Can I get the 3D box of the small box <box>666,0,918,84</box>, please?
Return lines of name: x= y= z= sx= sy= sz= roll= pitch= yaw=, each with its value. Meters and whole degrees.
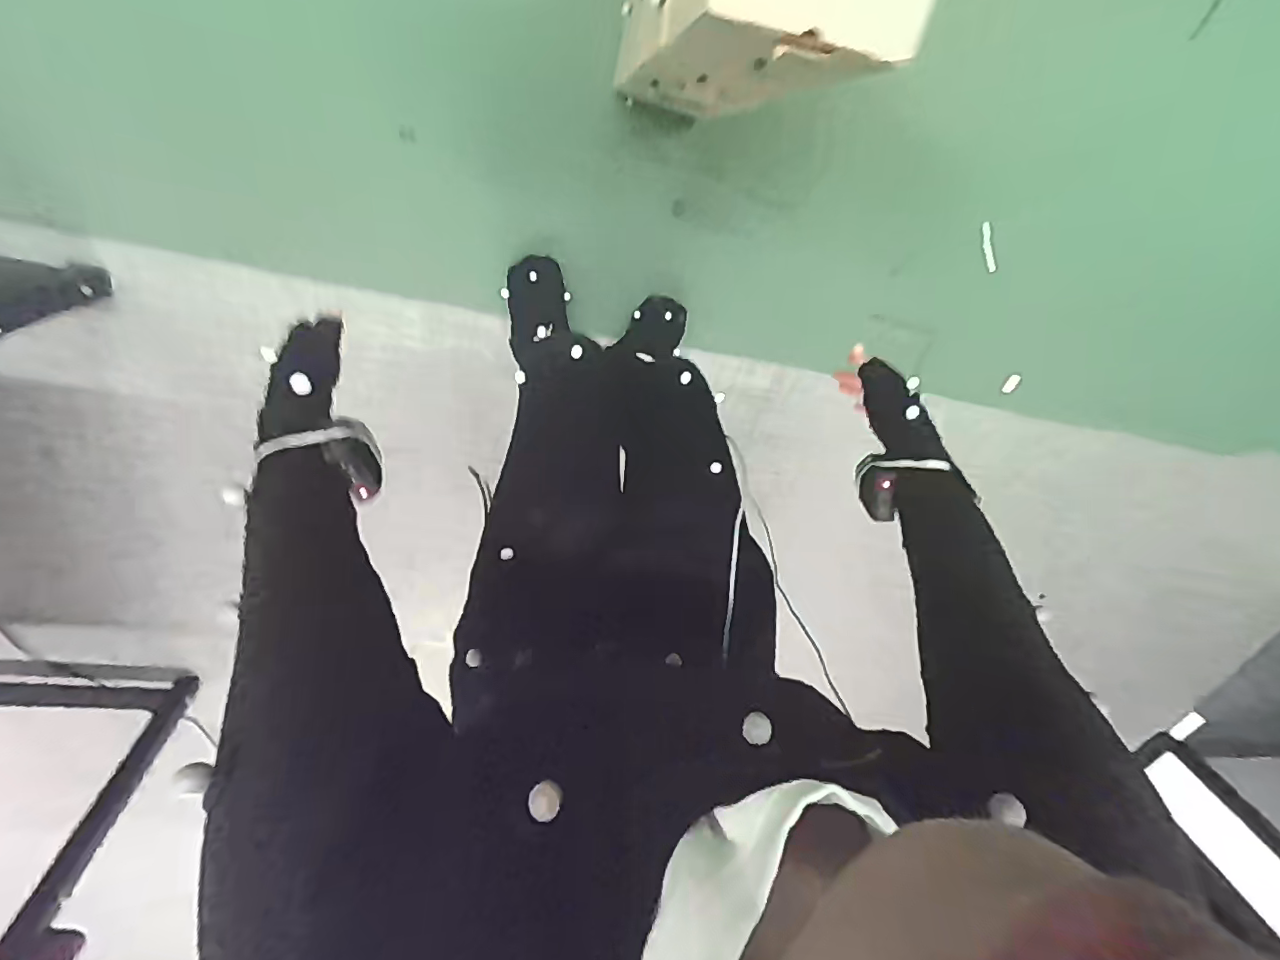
small box: x=0.125 y=-0.448 z=0.433 sx=0.168 sy=0.176 sz=0.179 roll=5 pitch=120 yaw=-12

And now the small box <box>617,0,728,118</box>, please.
small box: x=0.063 y=-0.695 z=0.855 sx=0.168 sy=0.176 sz=0.179 roll=8 pitch=119 yaw=-14

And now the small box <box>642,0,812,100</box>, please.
small box: x=0.103 y=-0.531 z=0.574 sx=0.168 sy=0.176 sz=0.179 roll=5 pitch=120 yaw=-12
